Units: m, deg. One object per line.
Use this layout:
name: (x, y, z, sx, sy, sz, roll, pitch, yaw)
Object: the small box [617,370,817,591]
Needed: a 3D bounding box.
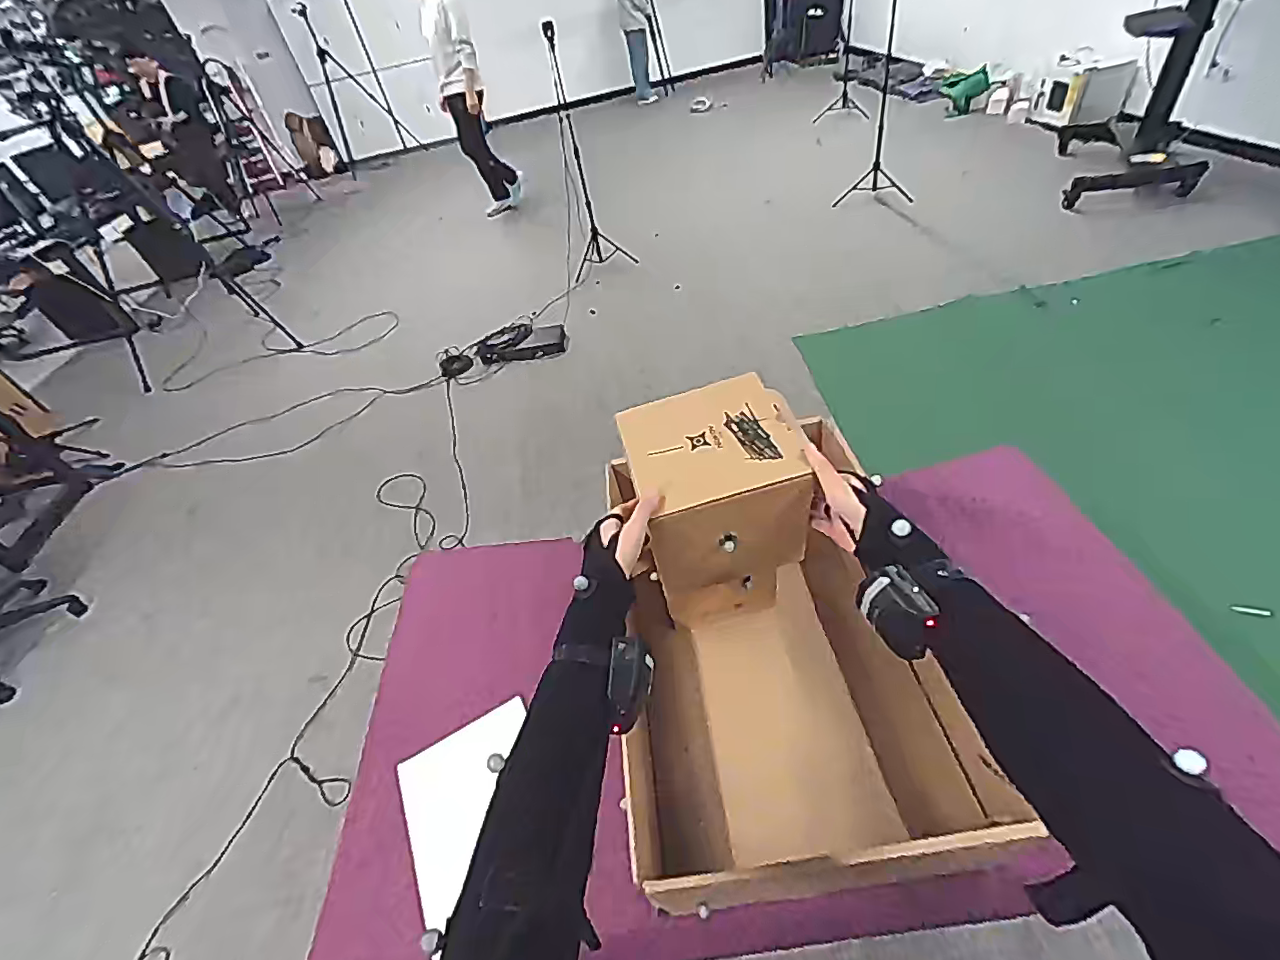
small box: (0.085, 0.005, 0.634, 0.179, 0.176, 0.168, -16, 49, -1)
